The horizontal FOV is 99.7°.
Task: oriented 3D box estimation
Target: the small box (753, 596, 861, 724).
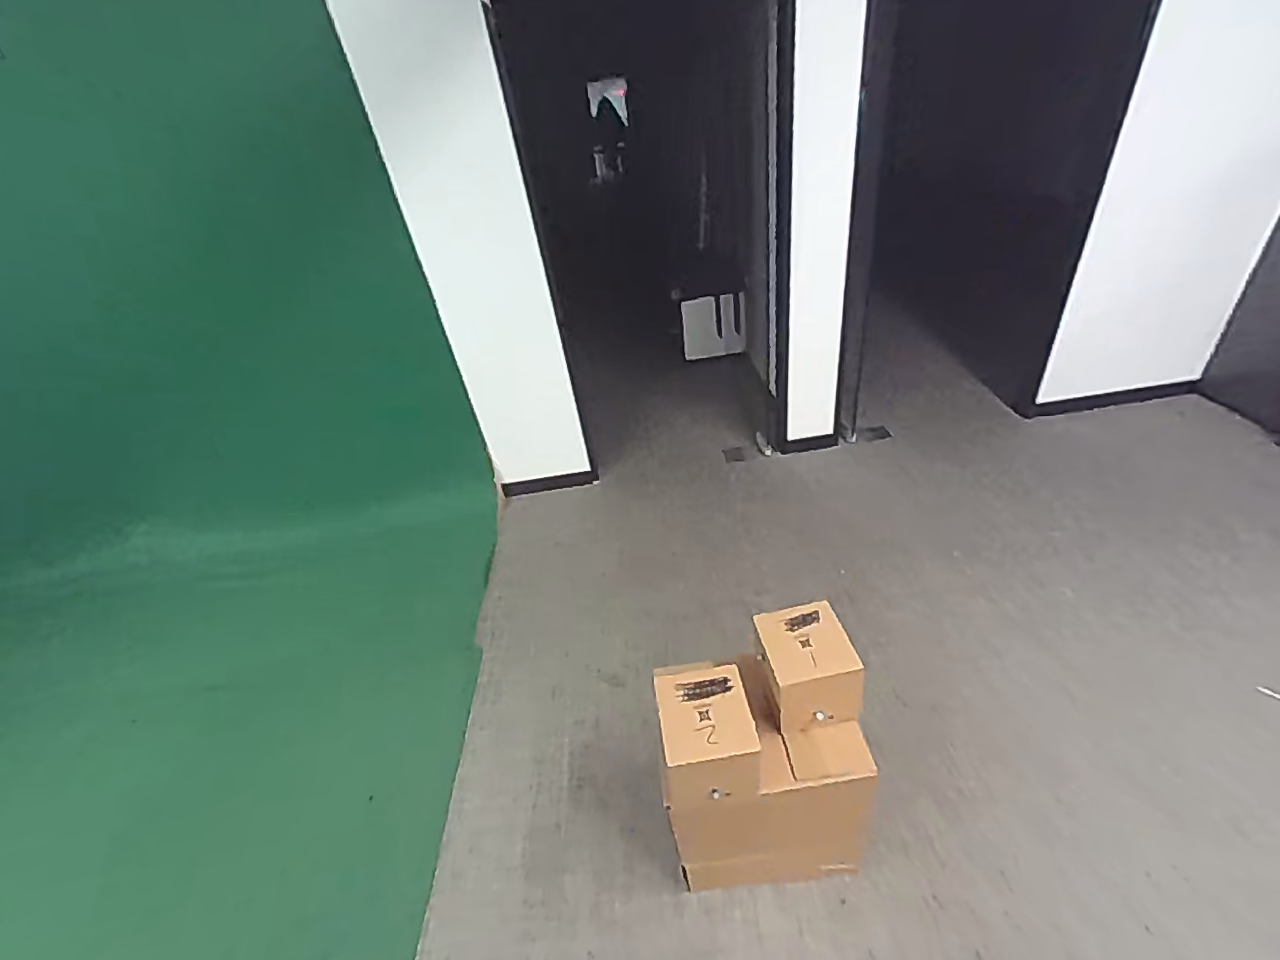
[{"bbox_3d":[0.340,0.377,1.132,0.168,0.176,0.179,-12,37,0],"label":"small box"}]
